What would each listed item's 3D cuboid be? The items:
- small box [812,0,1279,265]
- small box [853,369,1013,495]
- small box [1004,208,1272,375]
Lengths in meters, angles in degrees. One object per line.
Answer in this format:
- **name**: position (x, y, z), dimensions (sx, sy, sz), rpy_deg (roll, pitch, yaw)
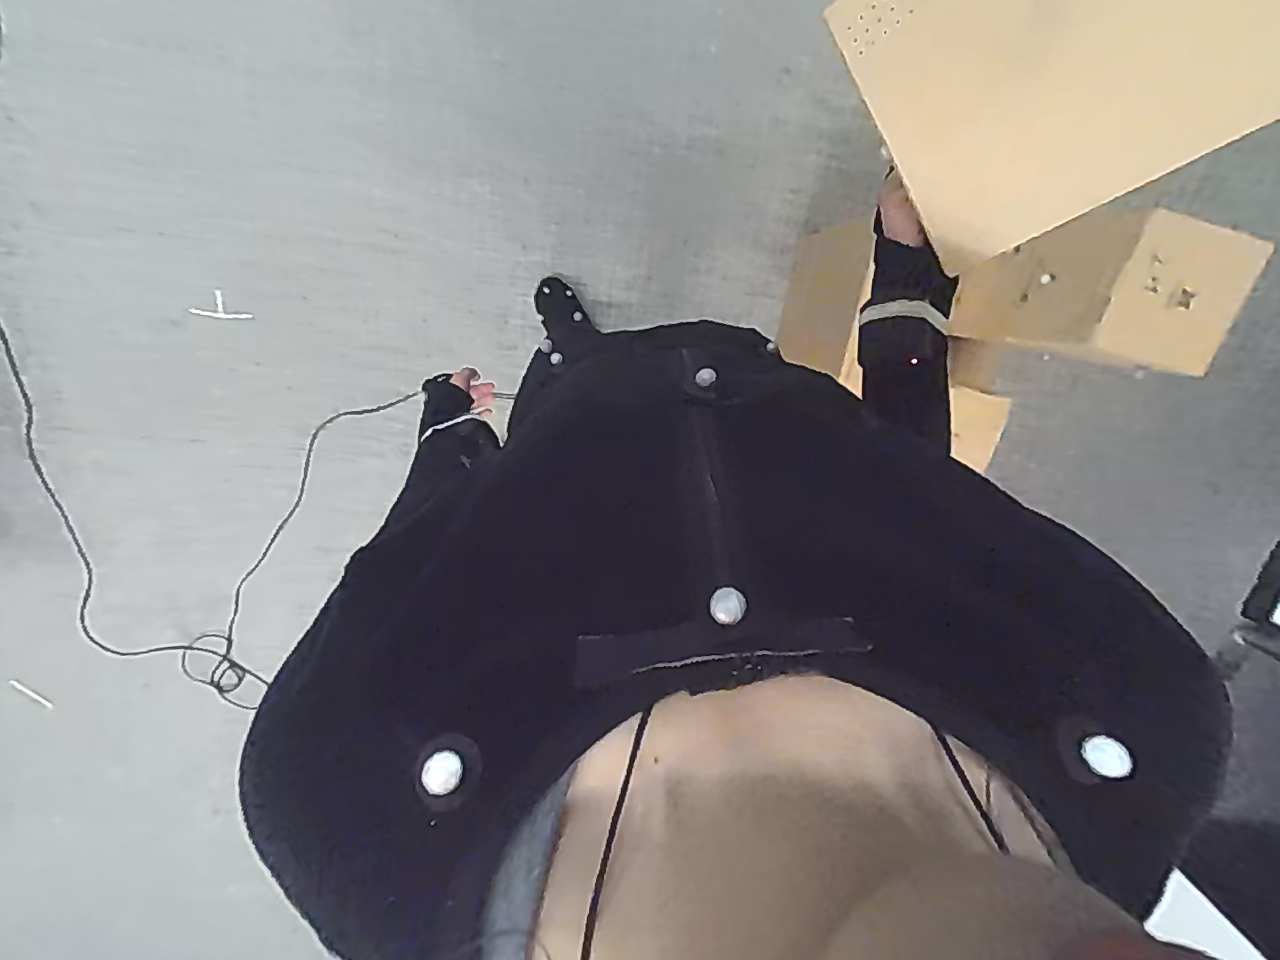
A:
- **small box**: position (0.221, -0.270, 0.312), dimensions (0.168, 0.179, 0.176), rpy_deg (-22, 119, 41)
- **small box**: position (0.505, -0.093, 0.964), dimensions (0.168, 0.176, 0.179), rpy_deg (10, 108, -4)
- **small box**: position (0.662, -0.255, 0.745), dimensions (0.179, 0.176, 0.168), rpy_deg (12, 107, -7)
